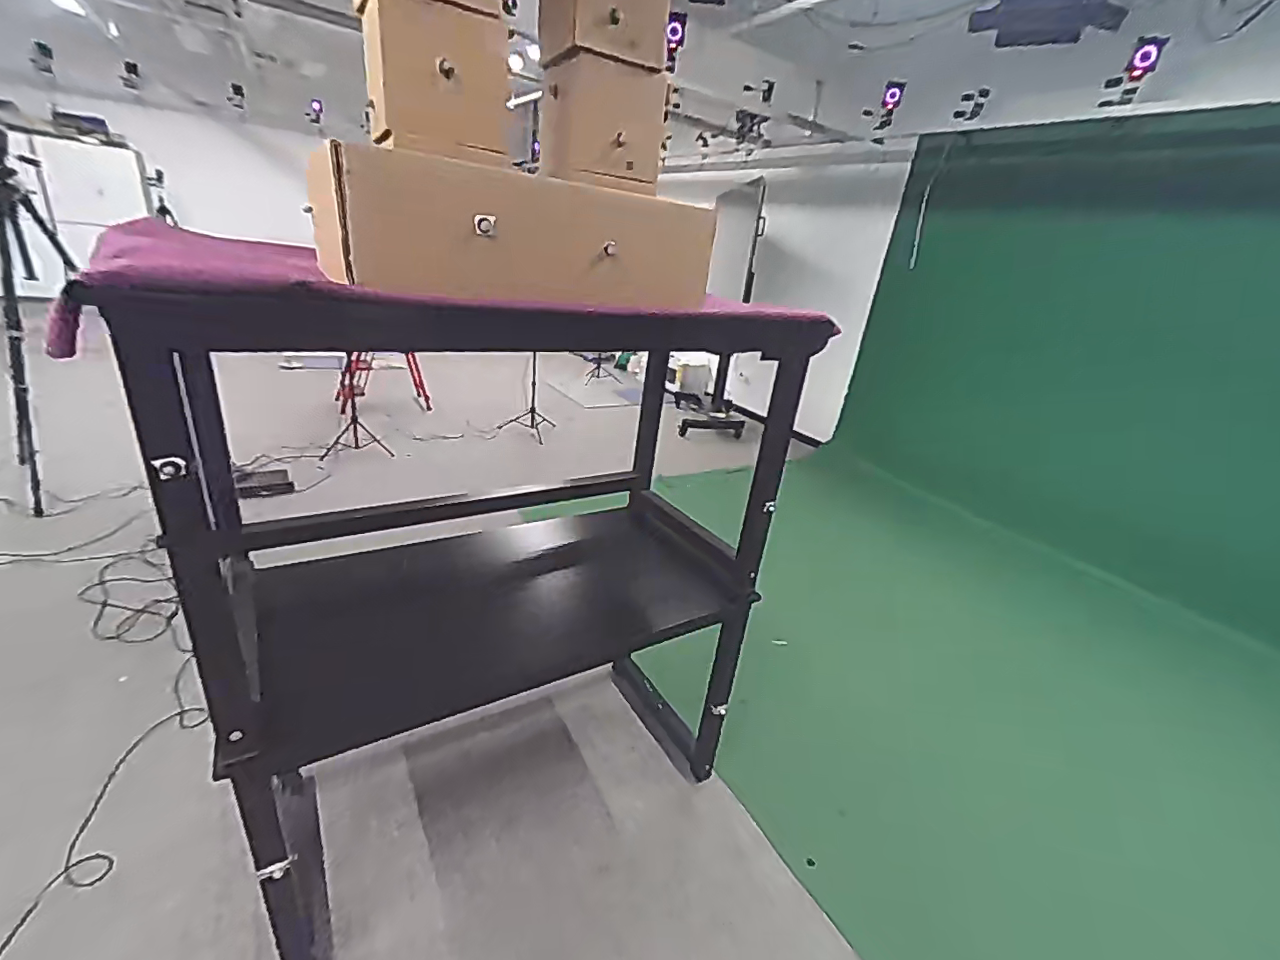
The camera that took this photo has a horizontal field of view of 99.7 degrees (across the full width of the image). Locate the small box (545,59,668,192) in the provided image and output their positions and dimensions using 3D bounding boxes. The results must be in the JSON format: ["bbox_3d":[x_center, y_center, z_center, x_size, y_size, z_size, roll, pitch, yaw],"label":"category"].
[{"bbox_3d":[-0.070,-0.634,0.992,0.168,0.176,0.179,-9,28,-29],"label":"small box"}]

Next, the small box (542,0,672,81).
[{"bbox_3d":[-0.062,-0.779,0.918,0.168,0.176,0.179,-7,27,-29],"label":"small box"}]
